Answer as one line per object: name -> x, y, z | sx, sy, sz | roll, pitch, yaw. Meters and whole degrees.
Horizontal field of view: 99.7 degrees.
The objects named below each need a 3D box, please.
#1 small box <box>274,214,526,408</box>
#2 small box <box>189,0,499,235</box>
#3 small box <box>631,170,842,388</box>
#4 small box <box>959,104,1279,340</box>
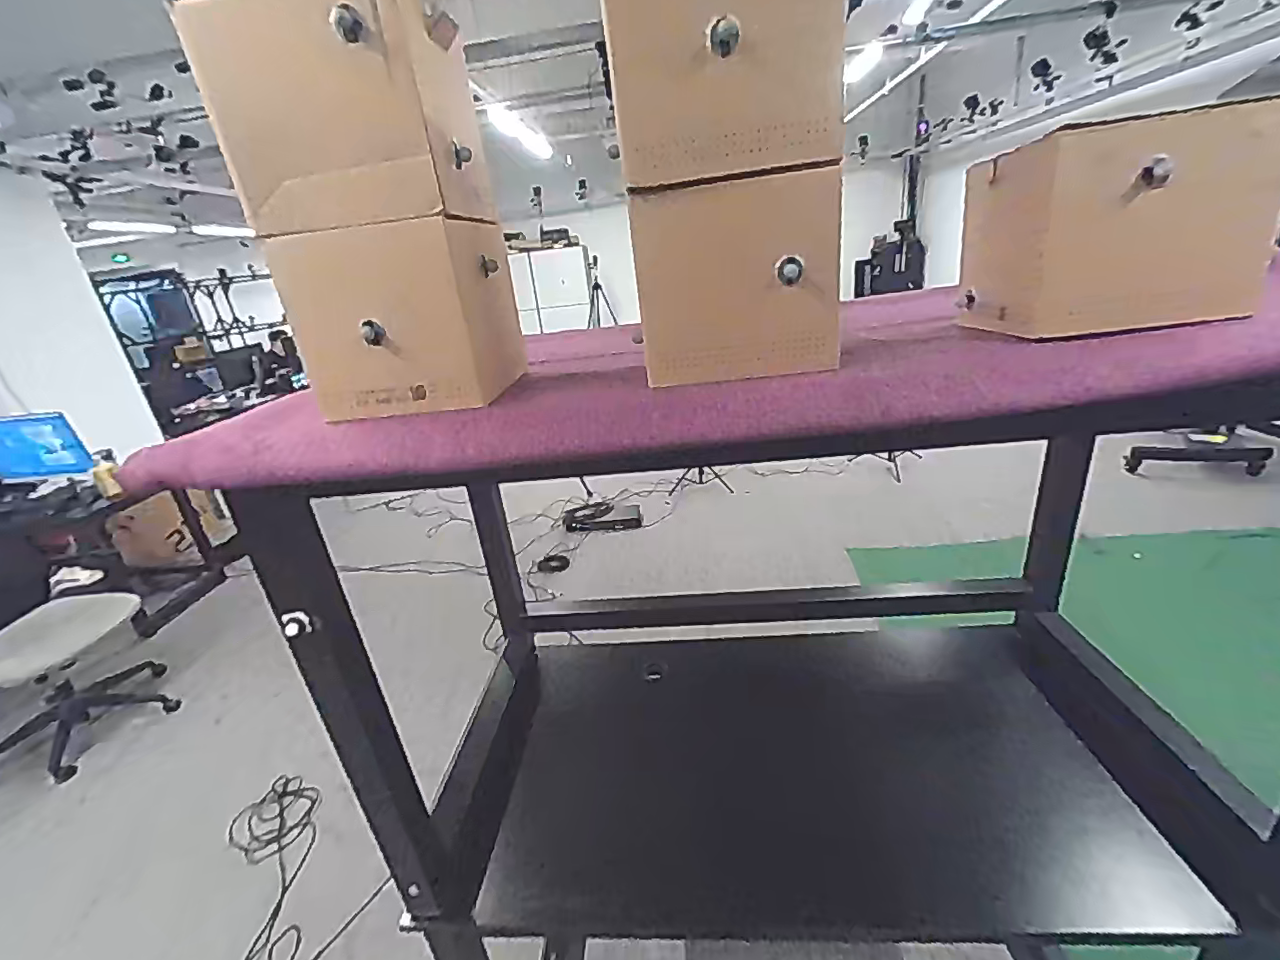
small box -> -0.228, -0.175, 0.571 | 0.168, 0.176, 0.179 | -3, 22, 4
small box -> -0.250, -0.323, 0.509 | 0.179, 0.176, 0.168 | -5, 23, 2
small box -> 0.091, -0.198, 0.547 | 0.179, 0.176, 0.168 | -5, 21, 5
small box -> 0.438, -0.235, 0.532 | 0.179, 0.176, 0.168 | -4, 20, 7
